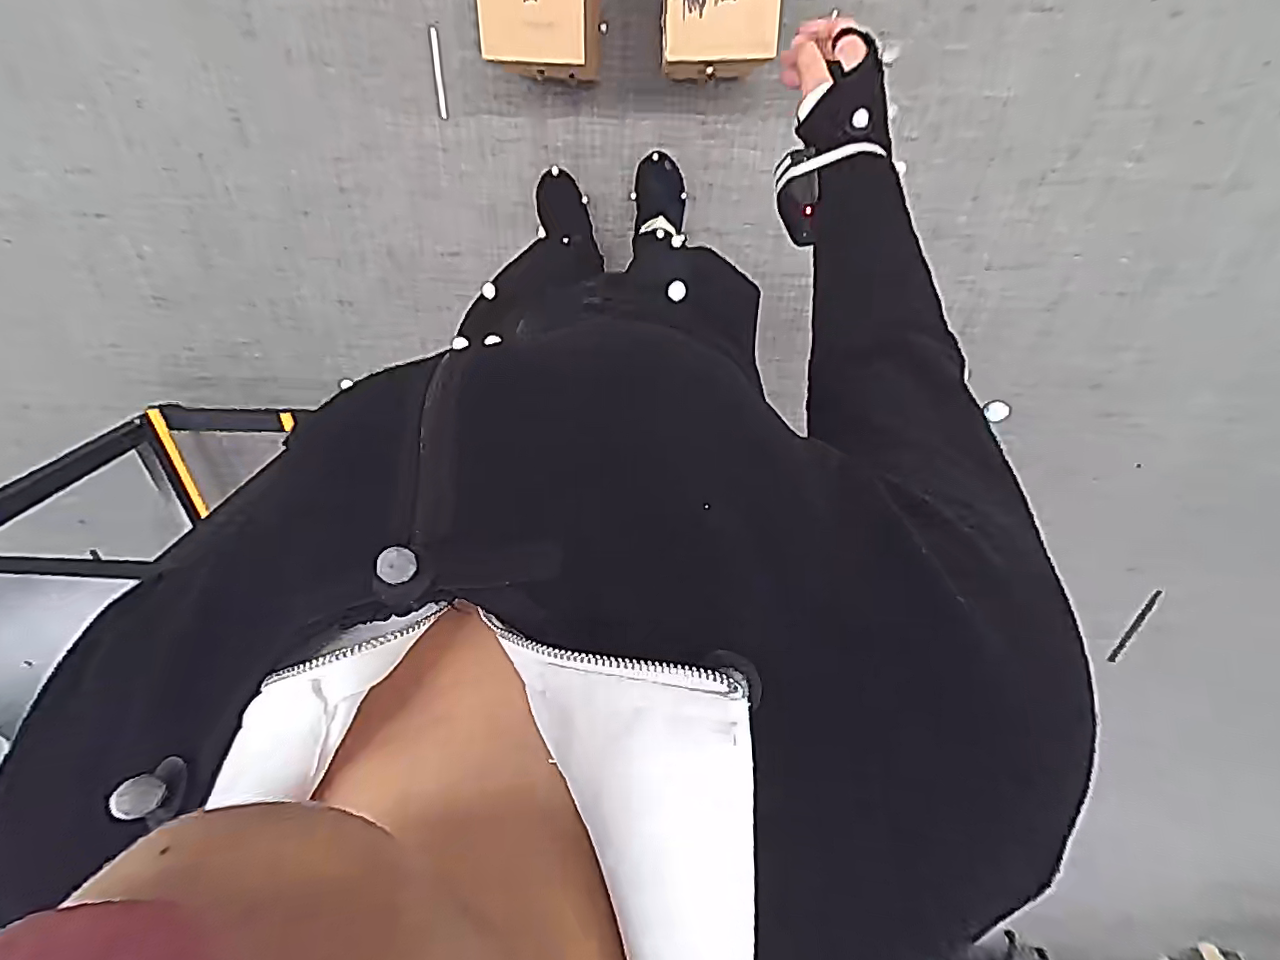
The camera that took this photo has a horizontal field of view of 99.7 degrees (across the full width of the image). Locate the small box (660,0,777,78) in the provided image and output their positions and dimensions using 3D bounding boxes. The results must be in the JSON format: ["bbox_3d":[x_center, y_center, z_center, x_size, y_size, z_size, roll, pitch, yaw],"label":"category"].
[{"bbox_3d":[0.121,-0.767,0.883,0.179,0.176,0.168,0,122,1],"label":"small box"}]

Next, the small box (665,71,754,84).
[{"bbox_3d":[0.132,-0.859,1.021,0.168,0.176,0.179,0,123,2],"label":"small box"}]

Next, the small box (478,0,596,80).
[{"bbox_3d":[-0.164,-0.774,0.886,0.168,0.176,0.179,3,124,1],"label":"small box"}]

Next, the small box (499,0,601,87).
[{"bbox_3d":[-0.167,-0.858,1.026,0.179,0.176,0.168,4,122,0],"label":"small box"}]
